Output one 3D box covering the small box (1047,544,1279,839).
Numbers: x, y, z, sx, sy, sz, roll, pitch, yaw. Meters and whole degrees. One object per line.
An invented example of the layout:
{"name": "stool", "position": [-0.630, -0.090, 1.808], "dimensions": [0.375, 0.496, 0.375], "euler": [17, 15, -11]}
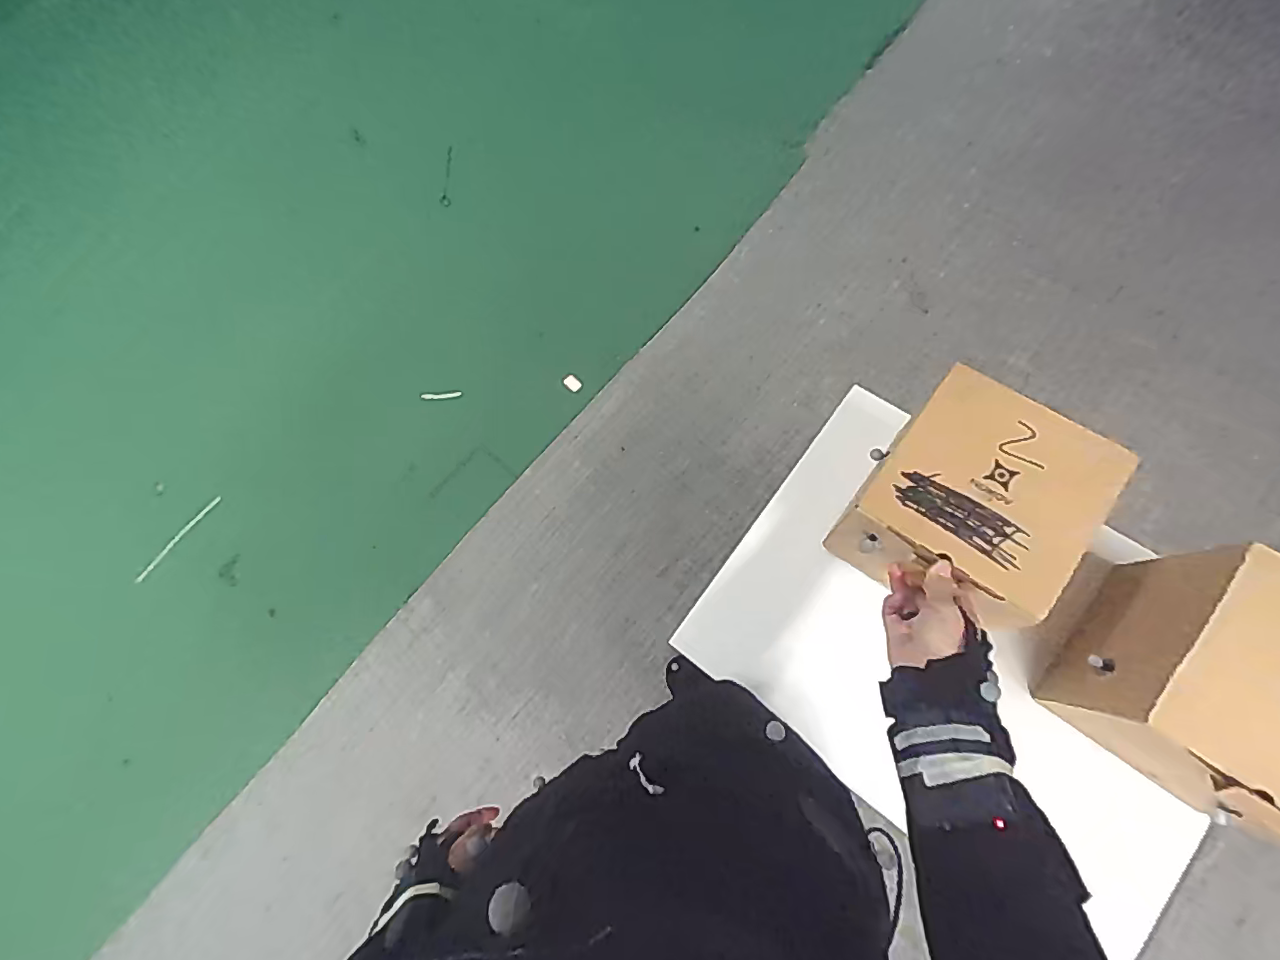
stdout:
{"name": "small box", "position": [0.505, 0.183, 0.468], "dimensions": [0.168, 0.176, 0.179], "euler": [36, 82, 16]}
